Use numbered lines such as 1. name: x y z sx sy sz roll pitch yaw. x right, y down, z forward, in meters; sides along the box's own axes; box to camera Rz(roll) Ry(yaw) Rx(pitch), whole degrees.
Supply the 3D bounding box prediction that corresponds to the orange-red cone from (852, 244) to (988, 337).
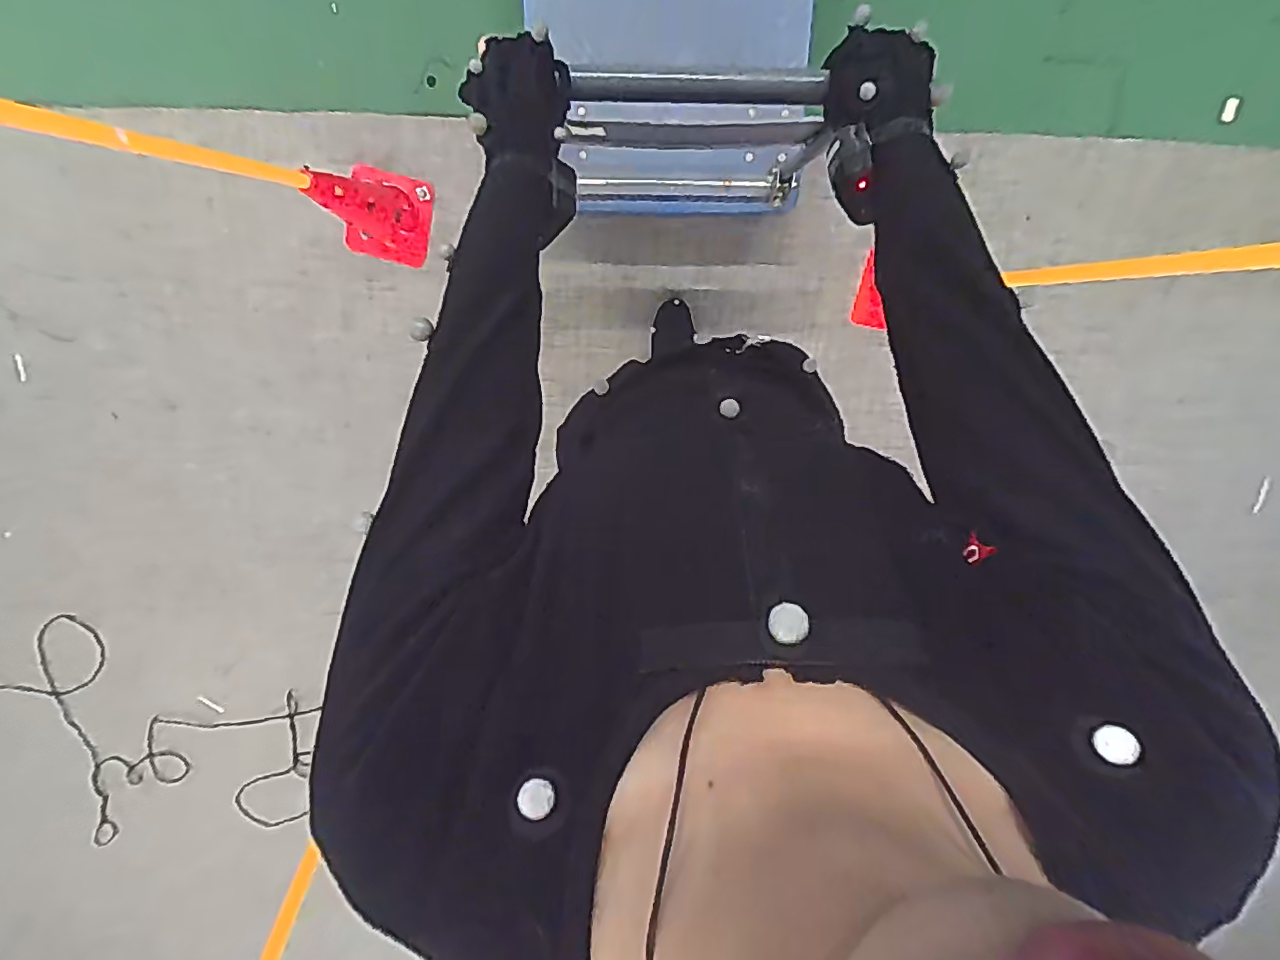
1. orange-red cone: 0.658 -0.432 1.213 0.198 0.360 0.199 13 107 -3
